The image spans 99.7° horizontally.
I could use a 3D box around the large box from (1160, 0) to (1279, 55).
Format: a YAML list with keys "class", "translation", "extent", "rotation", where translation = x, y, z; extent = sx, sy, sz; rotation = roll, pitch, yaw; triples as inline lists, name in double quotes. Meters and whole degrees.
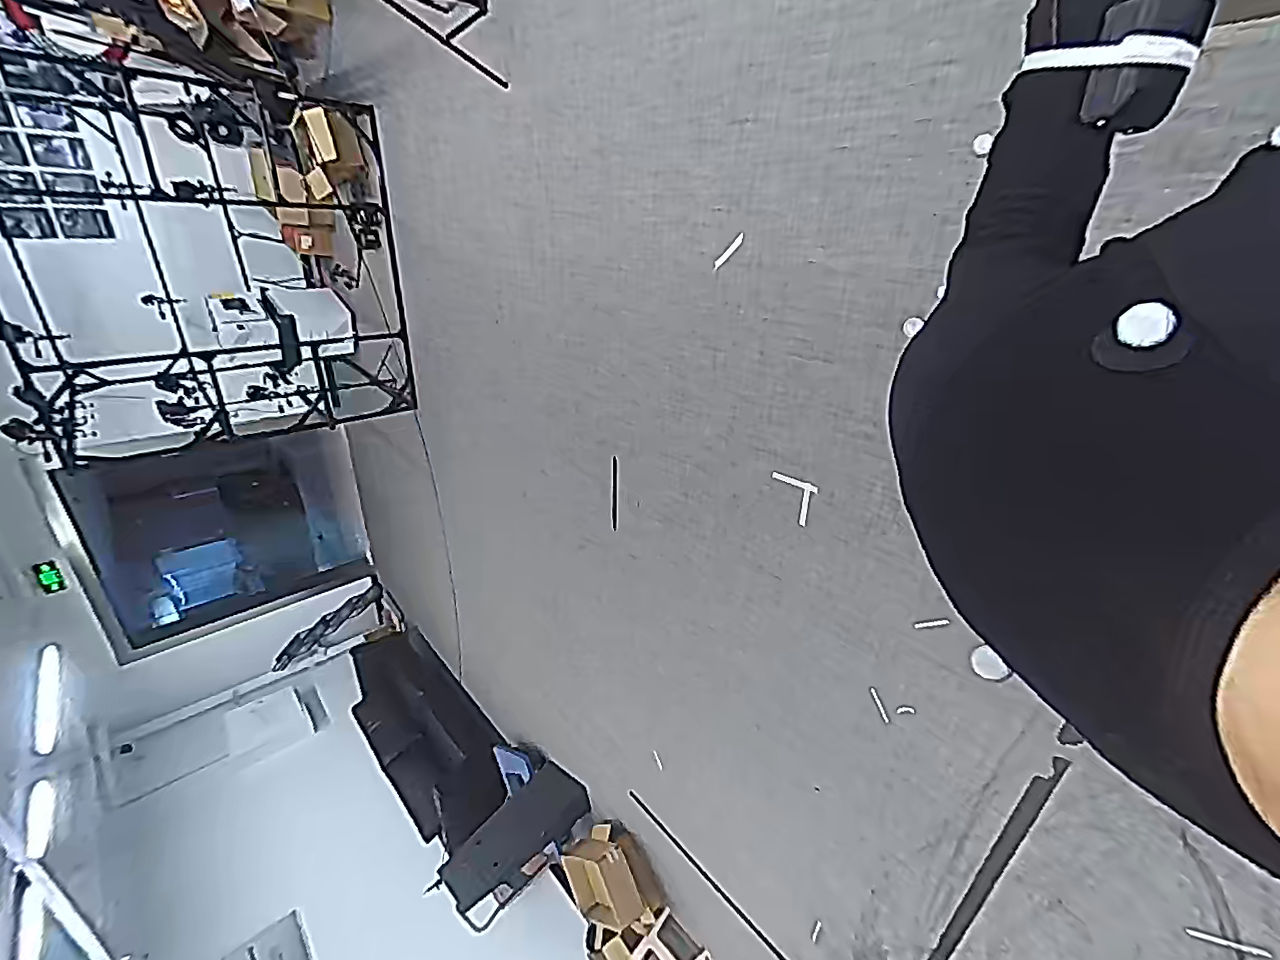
- class: "large box"
  translation: [0.541, -0.427, 0.226]
  extent: [0.408, 0.320, 0.320]
  rotation: [19, 129, 40]
